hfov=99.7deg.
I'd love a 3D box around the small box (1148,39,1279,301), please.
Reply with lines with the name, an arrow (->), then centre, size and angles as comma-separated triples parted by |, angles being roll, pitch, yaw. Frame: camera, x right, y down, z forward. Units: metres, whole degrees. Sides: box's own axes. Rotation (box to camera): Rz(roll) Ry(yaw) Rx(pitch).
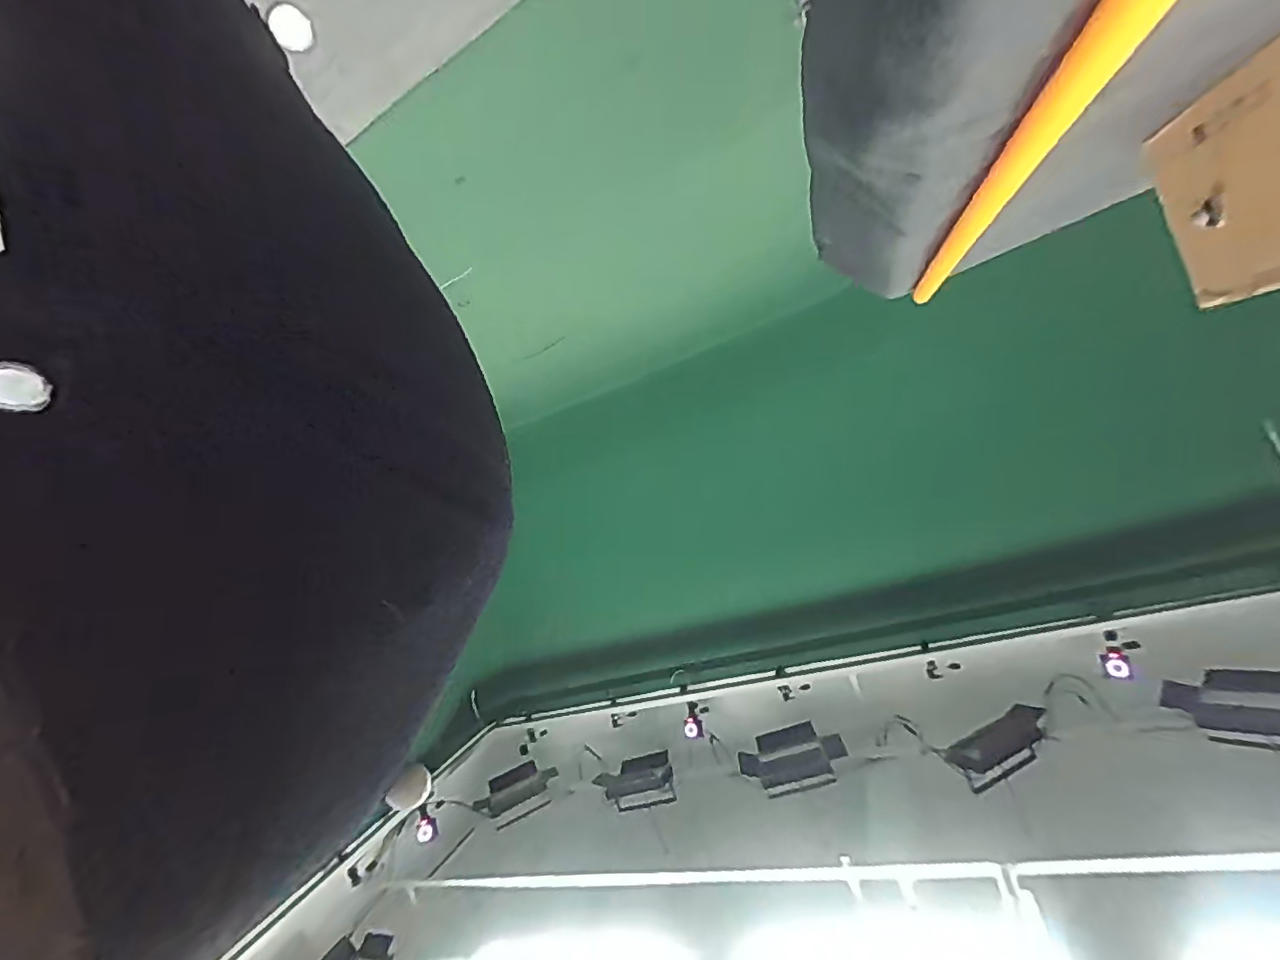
small box -> 0.543, -0.263, 0.397 | 0.179, 0.176, 0.168 | -22, 180, 13
